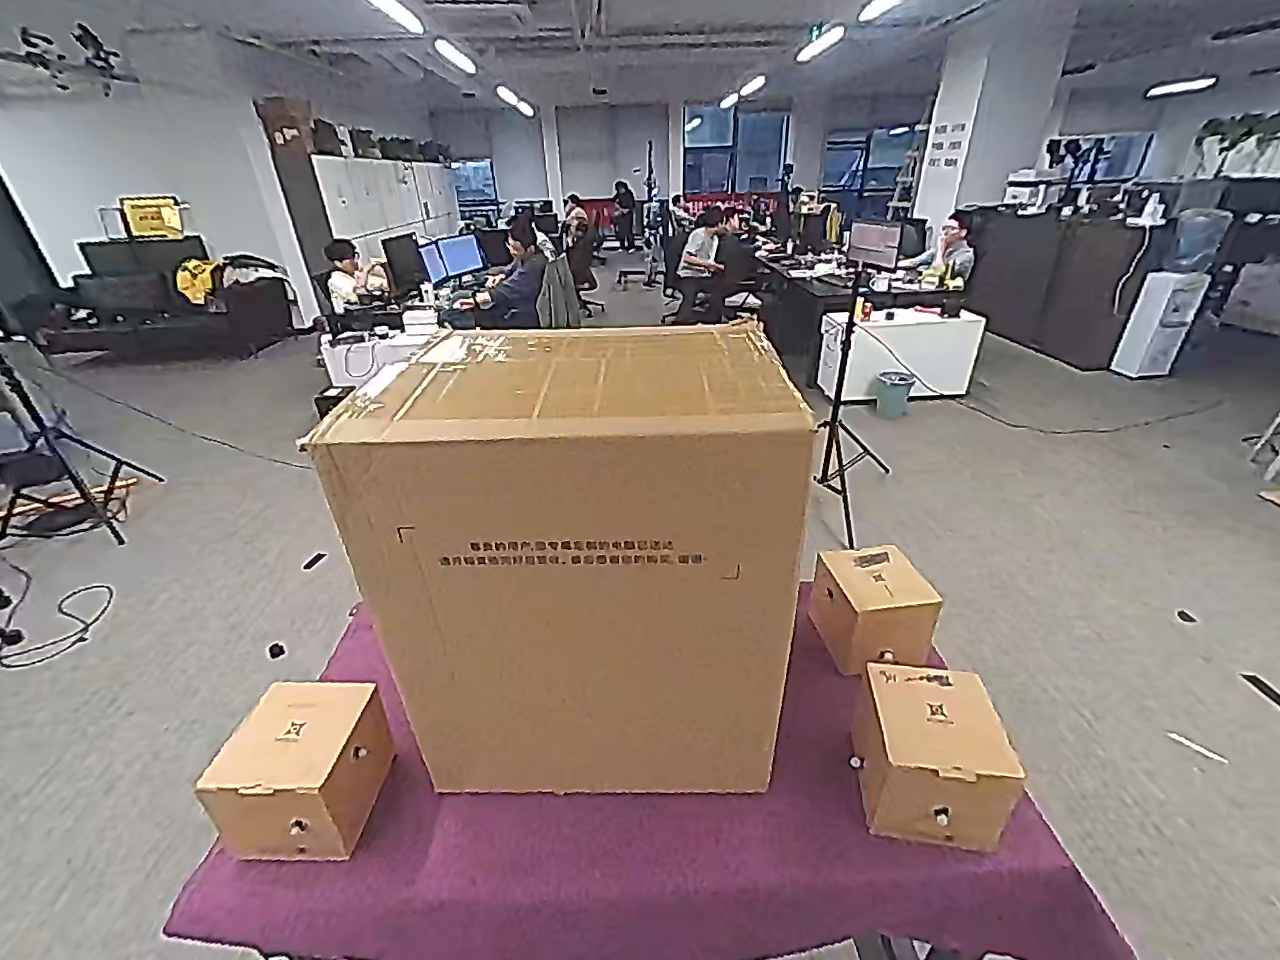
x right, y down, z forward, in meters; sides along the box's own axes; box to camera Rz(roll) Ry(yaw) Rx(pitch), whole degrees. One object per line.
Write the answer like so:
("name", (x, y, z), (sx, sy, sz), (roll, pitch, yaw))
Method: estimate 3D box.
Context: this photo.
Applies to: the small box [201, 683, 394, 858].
("small box", (-0.490, 0.432, 0.809), (0.168, 0.176, 0.179), (1, 27, -1))
